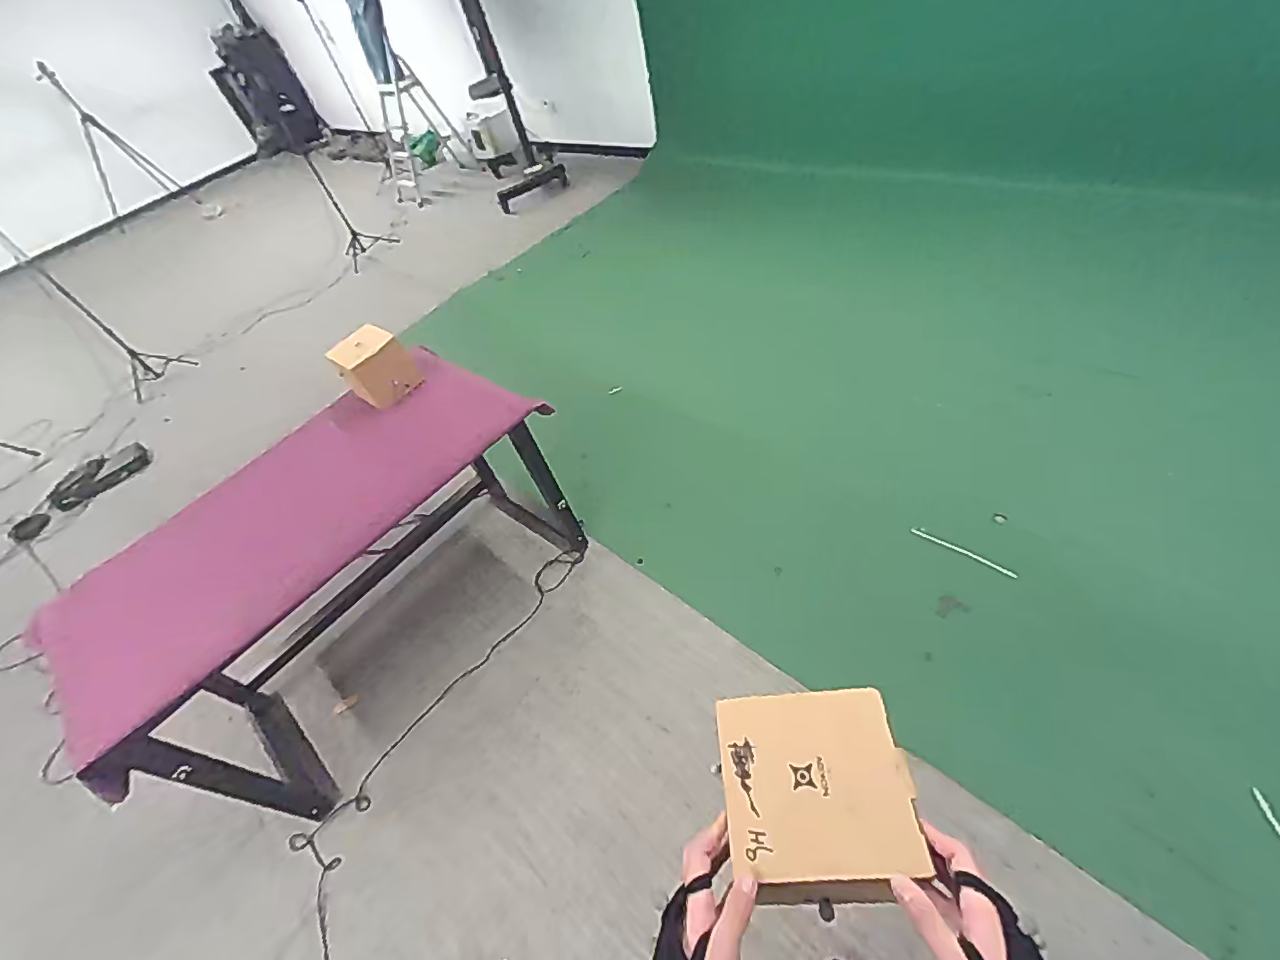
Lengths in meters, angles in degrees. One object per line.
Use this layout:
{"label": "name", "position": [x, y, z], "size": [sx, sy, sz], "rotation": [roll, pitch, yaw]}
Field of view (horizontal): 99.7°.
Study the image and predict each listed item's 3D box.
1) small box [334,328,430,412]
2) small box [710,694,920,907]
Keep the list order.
{"label": "small box", "position": [-0.795, -0.338, 1.676], "size": [0.179, 0.176, 0.168], "rotation": [28, 66, 34]}
{"label": "small box", "position": [0.174, 0.351, 0.591], "size": [0.179, 0.176, 0.168], "rotation": [-7, 45, 8]}
